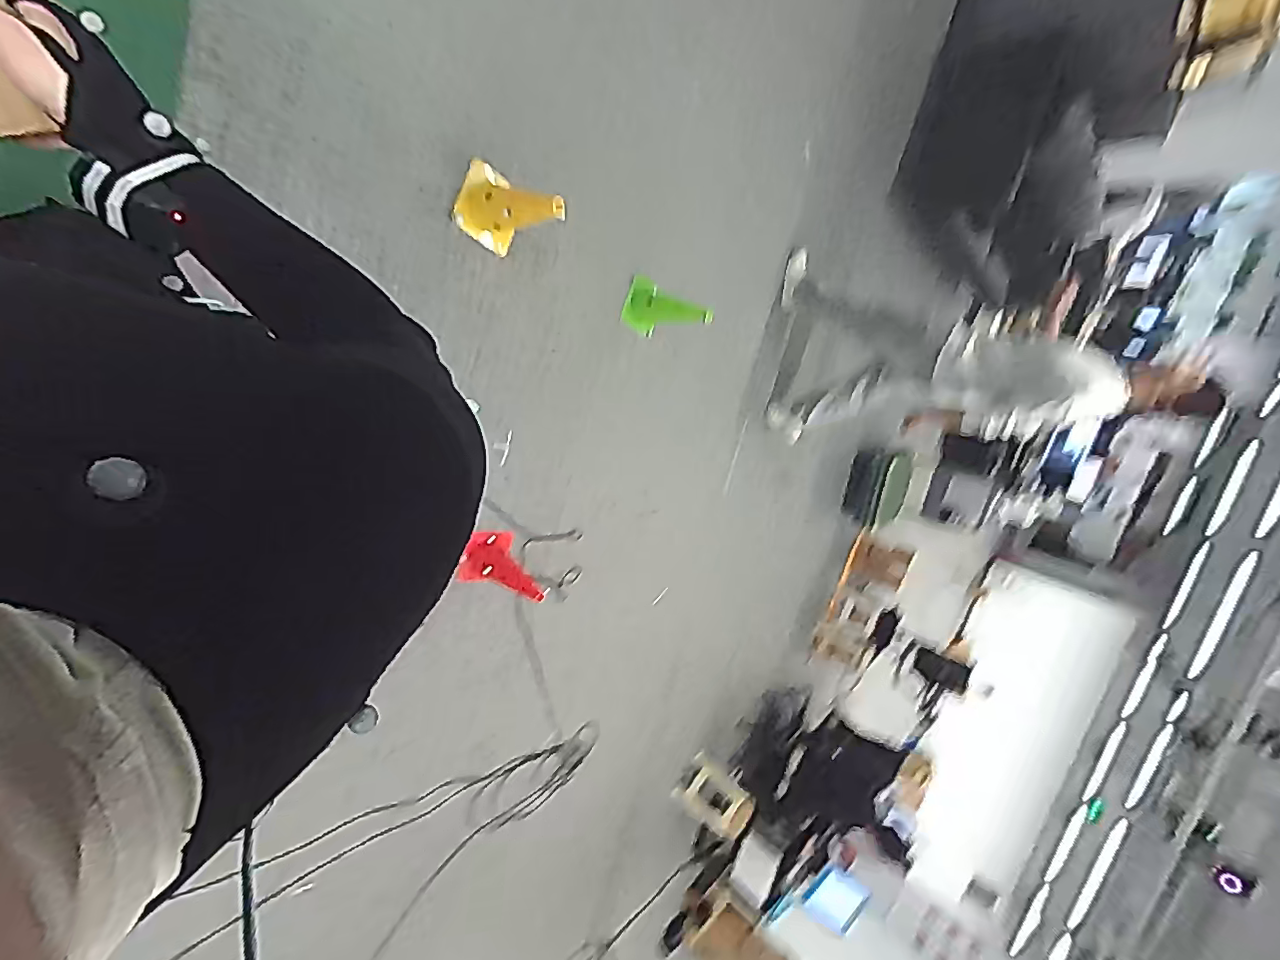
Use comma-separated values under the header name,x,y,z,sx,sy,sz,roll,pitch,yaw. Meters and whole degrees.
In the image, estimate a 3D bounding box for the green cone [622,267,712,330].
name,x,y,z,sx,sy,sz,roll,pitch,yaw
green cone,0.136,-0.692,2.111,0.202,0.368,0.200,14,97,-48
